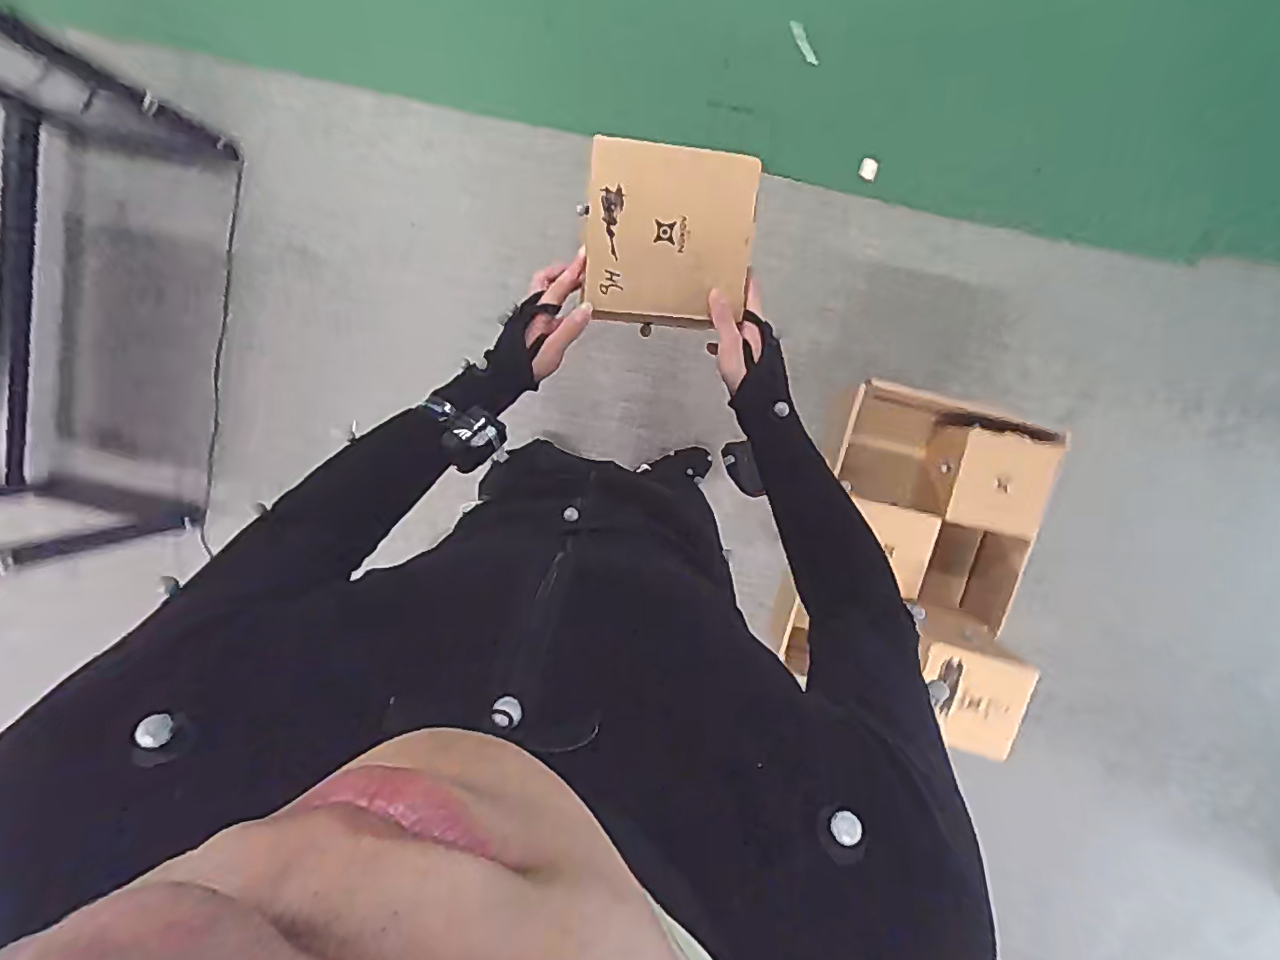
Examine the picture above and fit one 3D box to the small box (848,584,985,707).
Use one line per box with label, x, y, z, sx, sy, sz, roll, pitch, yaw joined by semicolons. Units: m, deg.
small box;0.560;0.332;1.122;0.179;0.176;0.168;16;98;3
